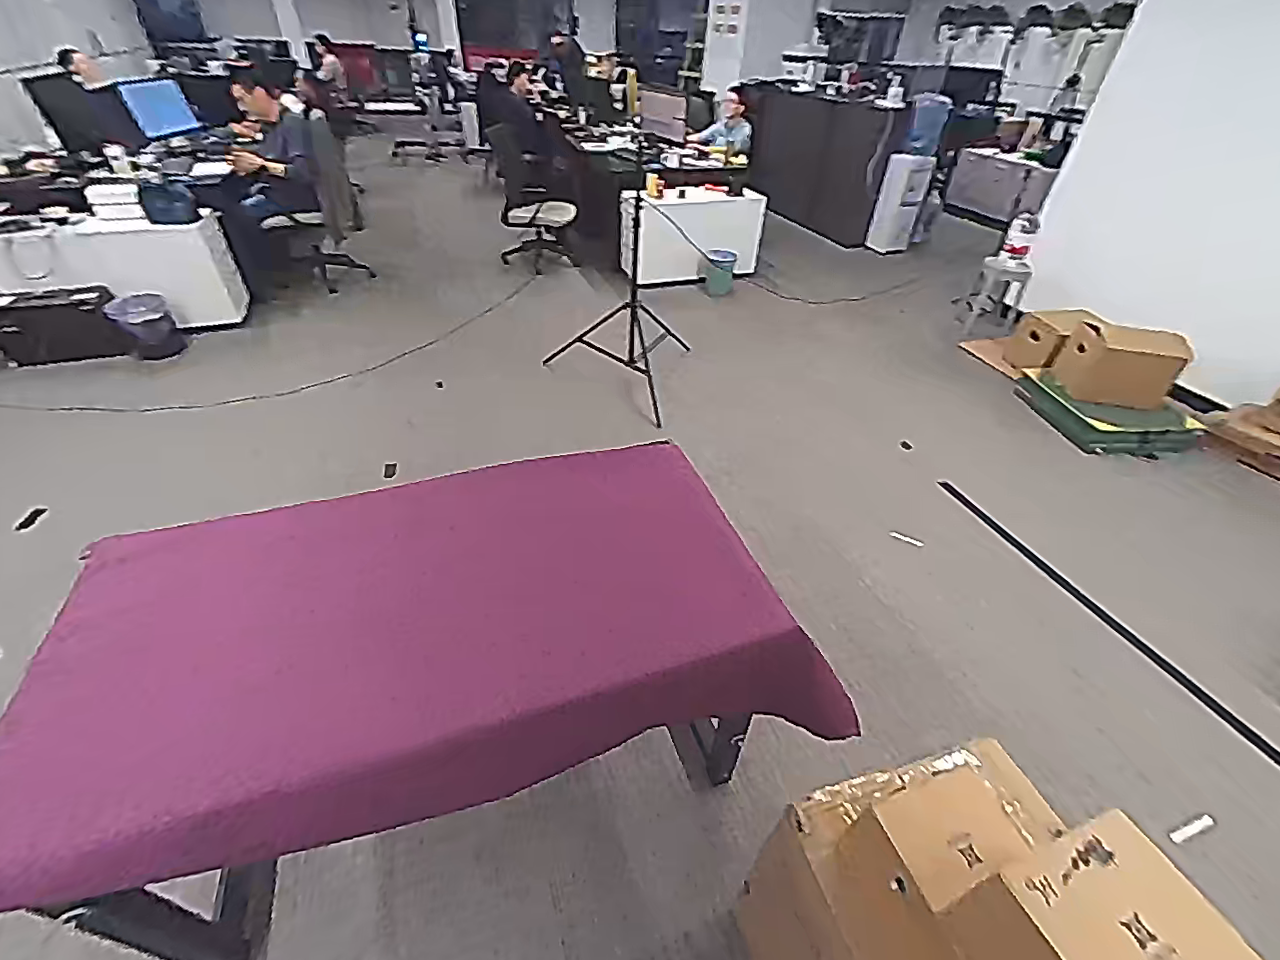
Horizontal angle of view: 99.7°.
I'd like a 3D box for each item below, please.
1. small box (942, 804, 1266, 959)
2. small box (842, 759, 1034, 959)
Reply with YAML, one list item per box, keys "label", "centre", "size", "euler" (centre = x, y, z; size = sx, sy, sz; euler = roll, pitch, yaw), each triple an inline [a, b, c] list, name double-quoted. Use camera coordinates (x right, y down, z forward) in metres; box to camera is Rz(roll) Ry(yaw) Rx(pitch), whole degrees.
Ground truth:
- label: "small box"
  centre: [0.442, 0.462, 0.525]
  size: [0.168, 0.176, 0.179]
  euler: [-13, 42, -16]
- label: "small box"
  centre: [0.400, 0.513, 0.717]
  size: [0.168, 0.176, 0.179]
  euler: [-13, 43, -15]
